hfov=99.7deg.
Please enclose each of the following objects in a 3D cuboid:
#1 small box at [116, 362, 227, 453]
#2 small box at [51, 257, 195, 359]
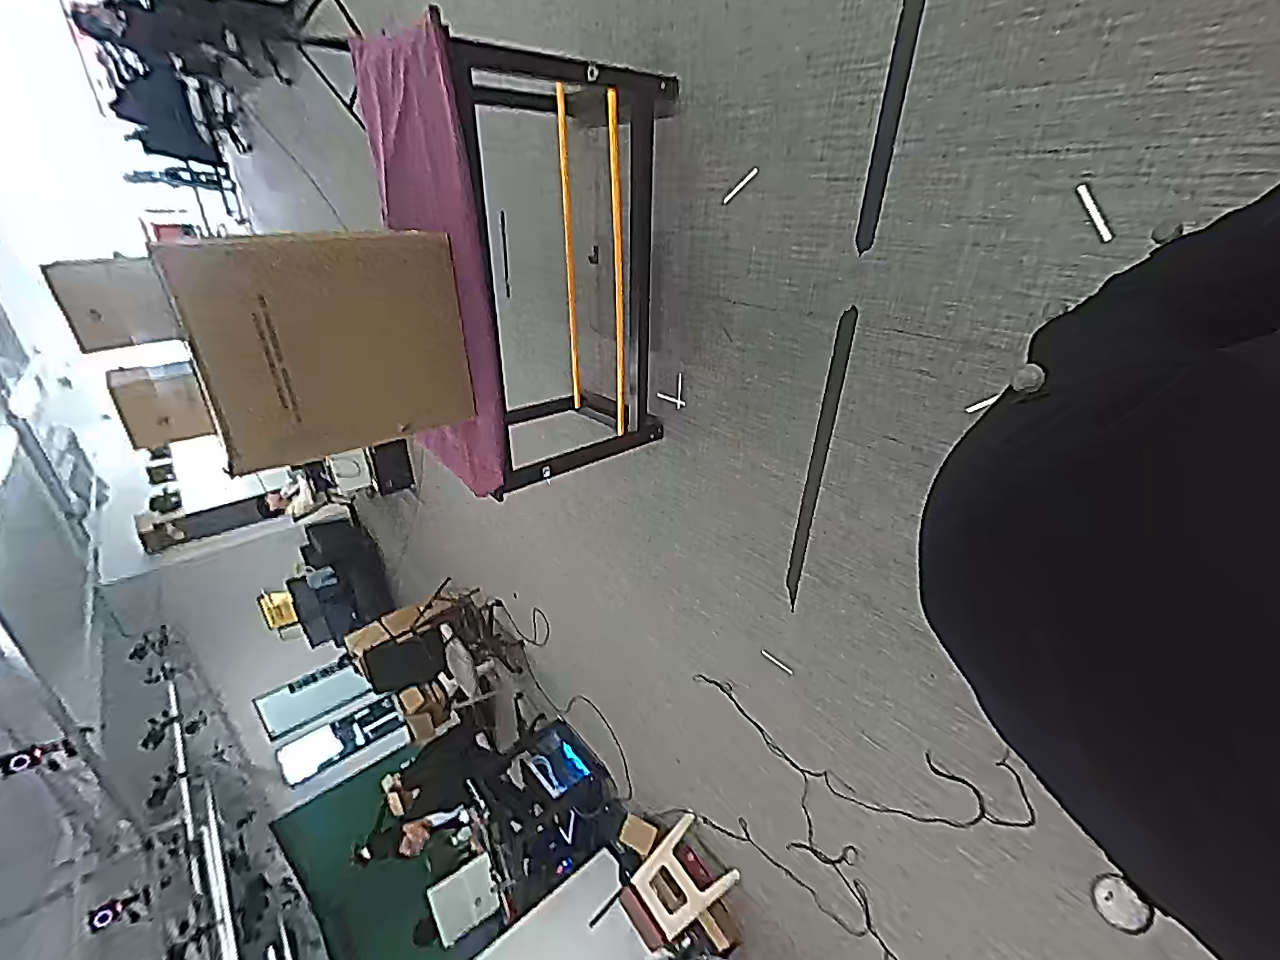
[{"bbox_3d":[-1.180,-0.192,1.371,0.179,0.176,0.168,31,130,41],"label":"small box"},{"bbox_3d":[-1.077,-0.368,1.141,0.168,0.176,0.179,24,127,44],"label":"small box"}]
